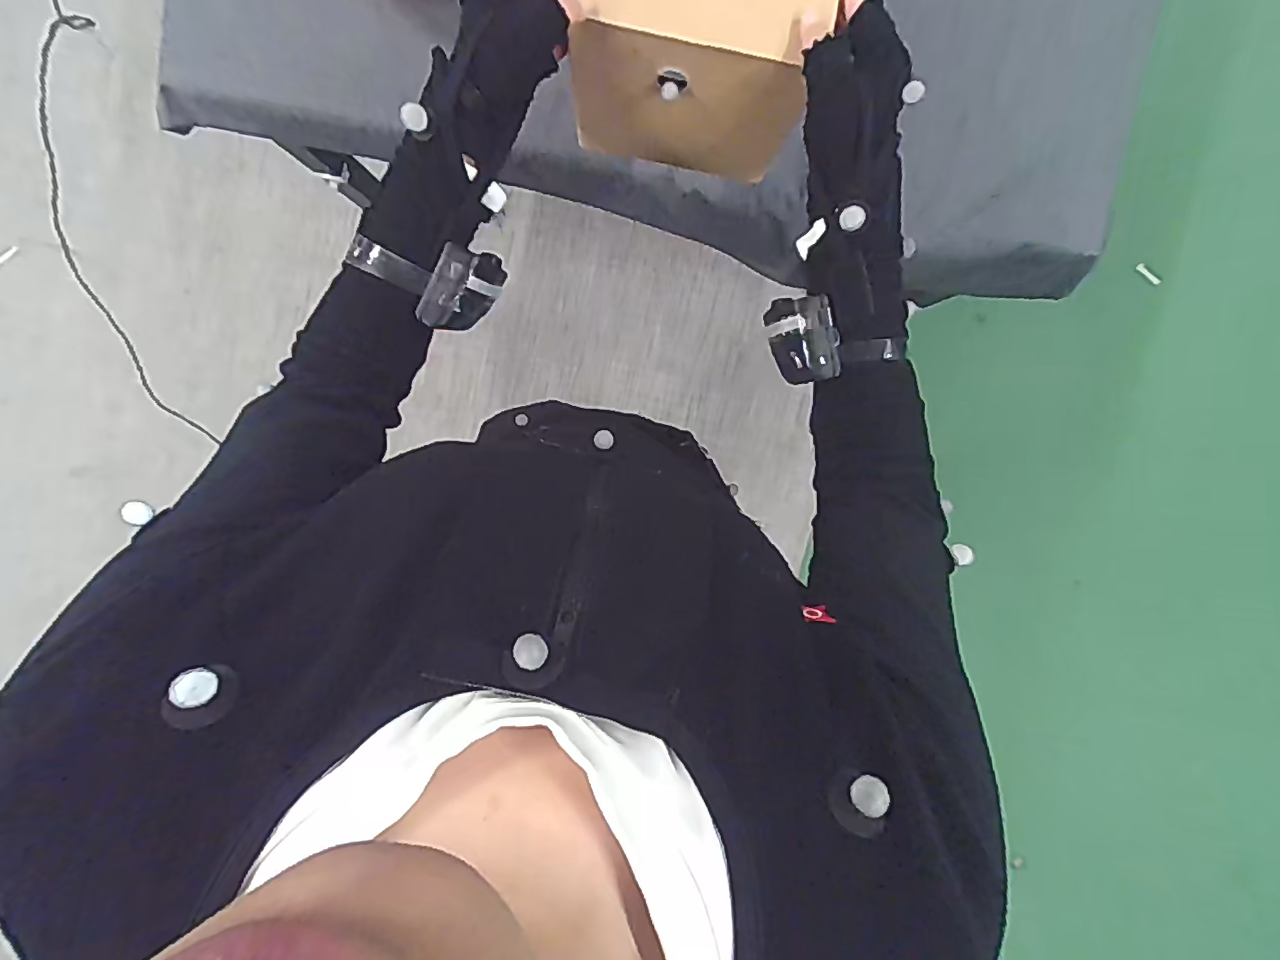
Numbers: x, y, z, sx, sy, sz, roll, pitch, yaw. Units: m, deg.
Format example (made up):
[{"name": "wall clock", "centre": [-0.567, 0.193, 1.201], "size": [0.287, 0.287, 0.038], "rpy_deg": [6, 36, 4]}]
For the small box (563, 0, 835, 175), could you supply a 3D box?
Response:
[{"name": "small box", "centre": [0.045, -0.370, 0.424], "size": [0.179, 0.176, 0.168], "rpy_deg": [10, 96, -4]}]
